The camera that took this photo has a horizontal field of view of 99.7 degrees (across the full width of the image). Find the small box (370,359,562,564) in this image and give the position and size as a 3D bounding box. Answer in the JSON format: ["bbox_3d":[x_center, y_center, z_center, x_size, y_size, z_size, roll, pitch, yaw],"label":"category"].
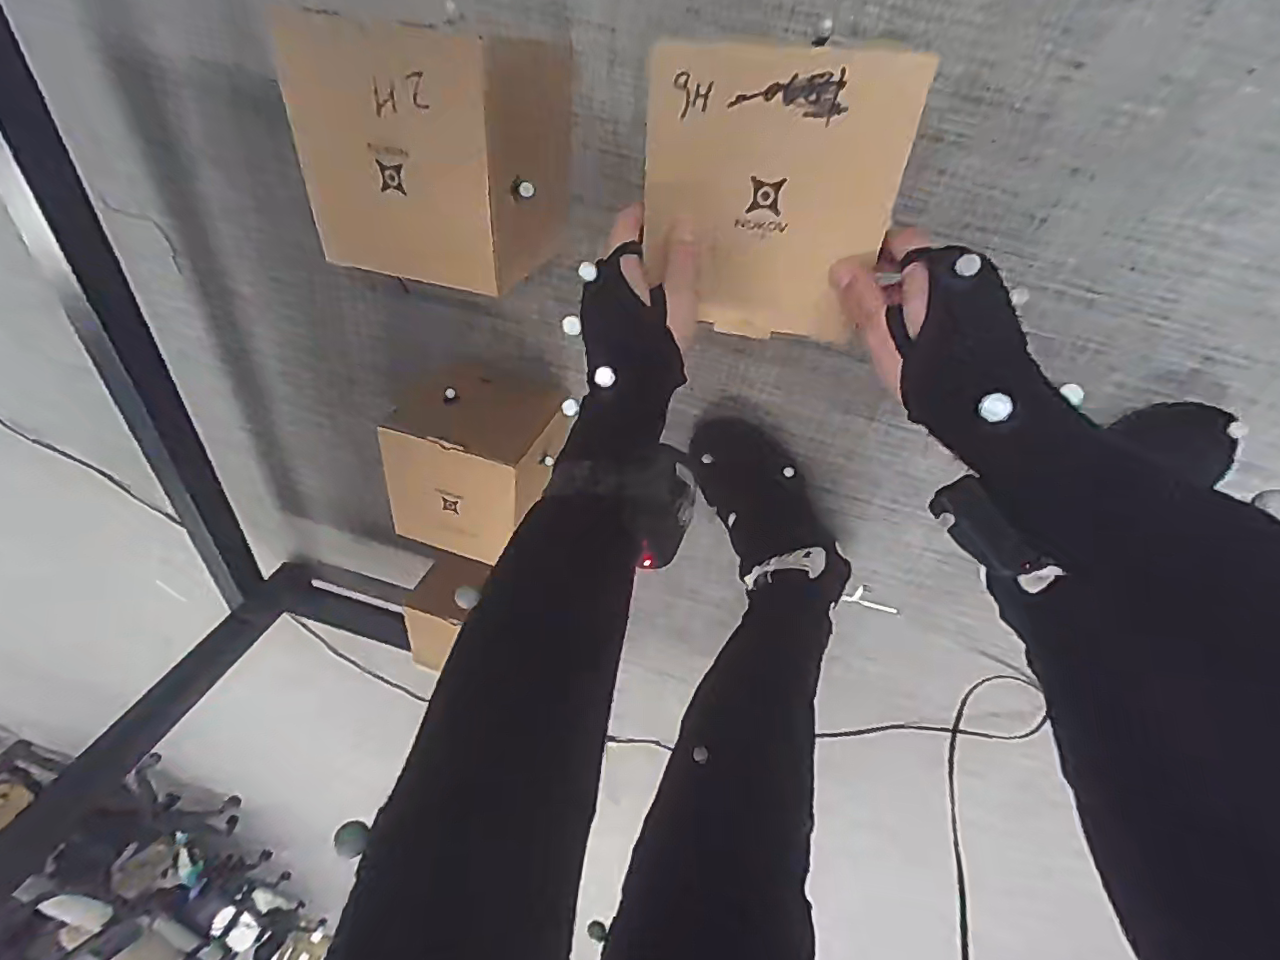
[{"bbox_3d":[-0.207,-0.030,0.687,0.168,0.176,0.179,17,131,6],"label":"small box"}]

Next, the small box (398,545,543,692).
[{"bbox_3d":[-0.268,0.212,0.897,0.168,0.176,0.179,16,130,6],"label":"small box"}]

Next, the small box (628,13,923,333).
[{"bbox_3d":[0.093,-0.241,0.420,0.168,0.176,0.179,11,132,8],"label":"small box"}]
